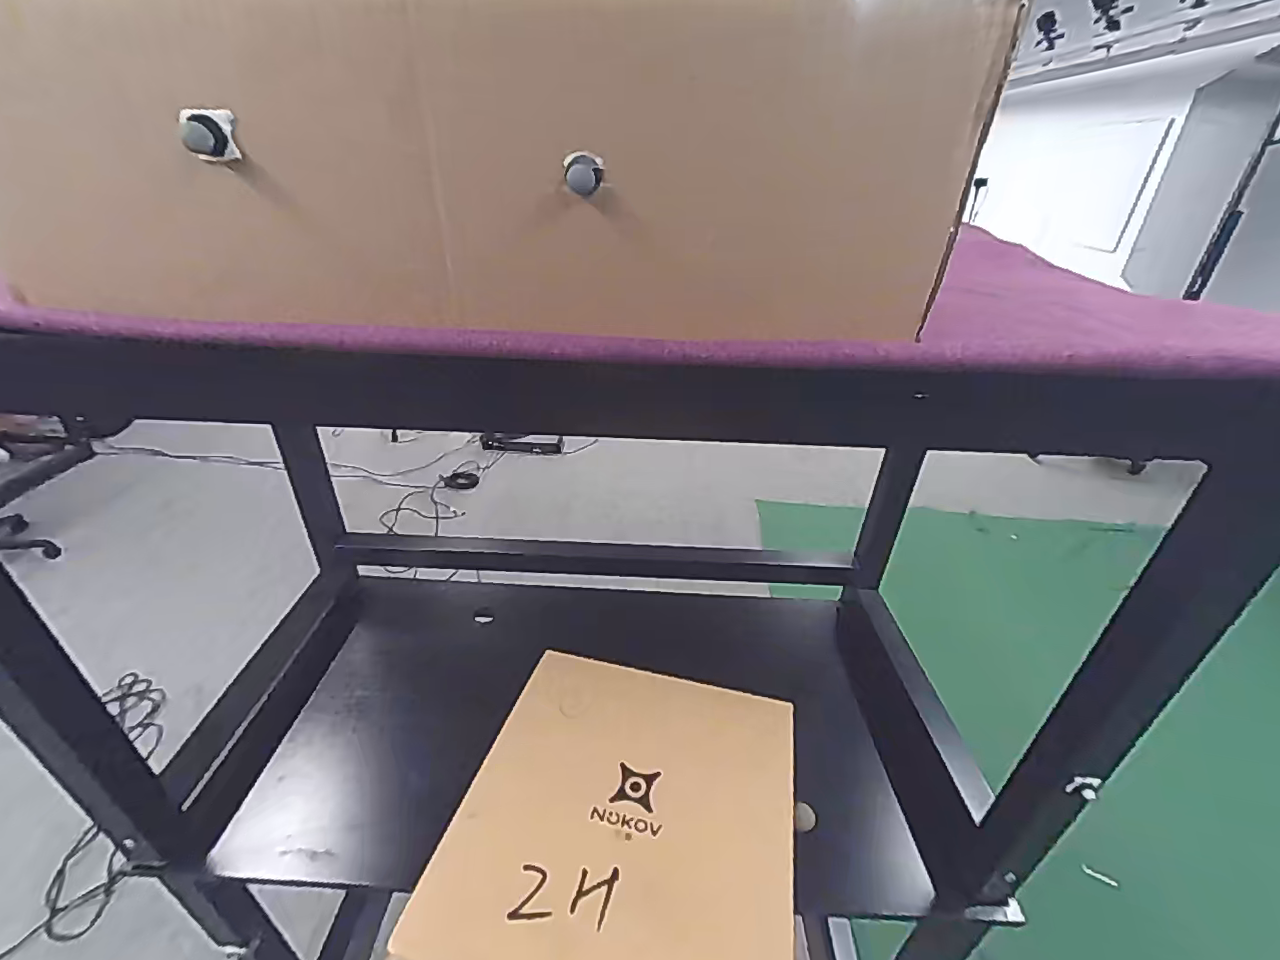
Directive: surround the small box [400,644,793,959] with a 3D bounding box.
[{"bbox_3d":[-0.007,0.235,0.323,0.168,0.176,0.179,8,30,13],"label":"small box"}]
